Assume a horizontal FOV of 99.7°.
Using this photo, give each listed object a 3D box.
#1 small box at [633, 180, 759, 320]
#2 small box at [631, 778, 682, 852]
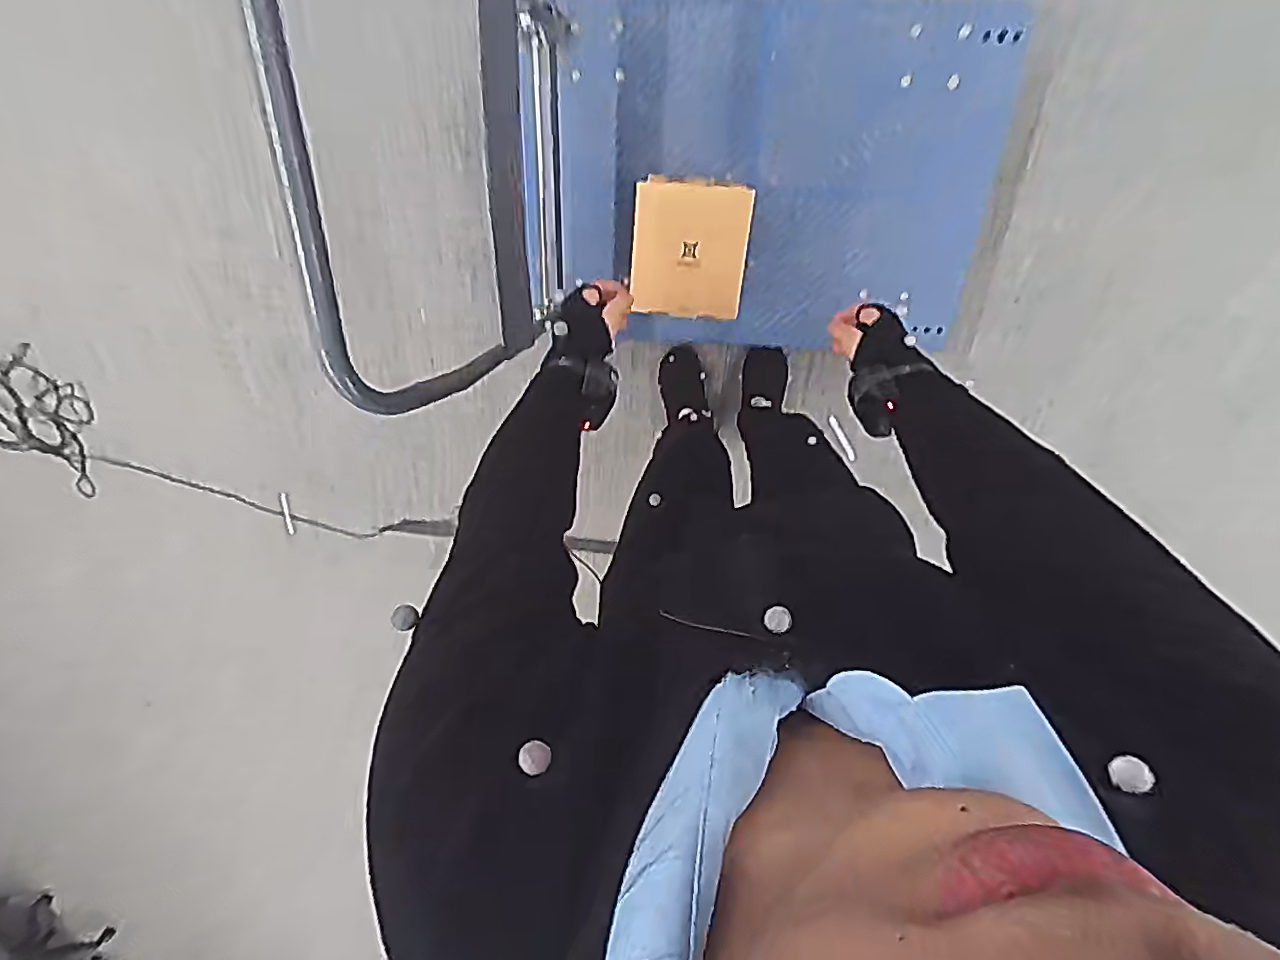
[{"bbox_3d":[0.081,-0.360,0.848,0.168,0.176,0.179,5,117,2],"label":"small box"},{"bbox_3d":[0.066,1.224,1.978,0.168,0.176,0.179,-6,114,7],"label":"small box"}]
